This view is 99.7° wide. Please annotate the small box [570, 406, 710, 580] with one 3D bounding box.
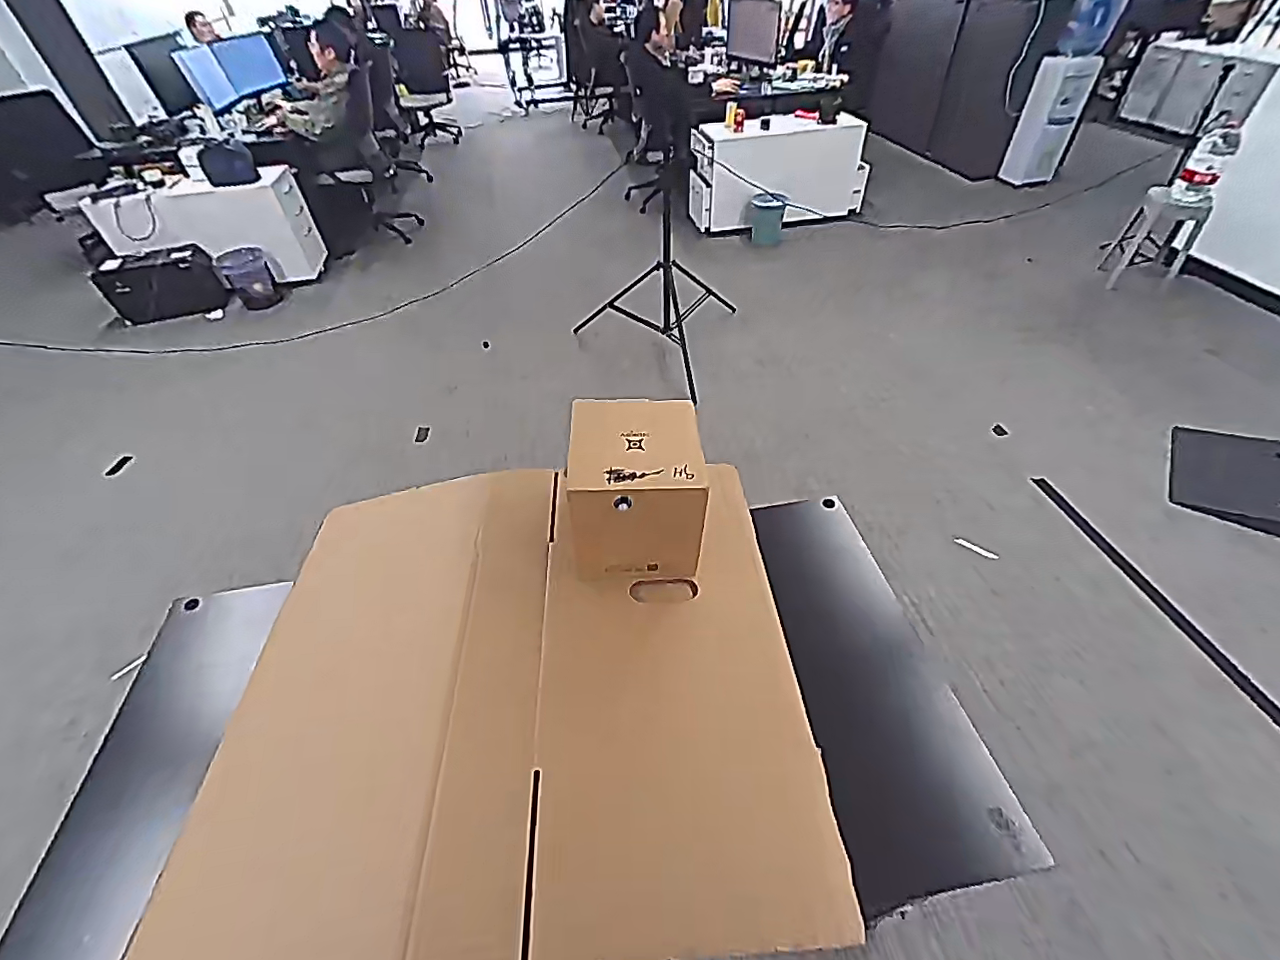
[{"bbox_3d":[-0.004,0.016,0.734,0.168,0.176,0.179,-1,43,-2],"label":"small box"}]
